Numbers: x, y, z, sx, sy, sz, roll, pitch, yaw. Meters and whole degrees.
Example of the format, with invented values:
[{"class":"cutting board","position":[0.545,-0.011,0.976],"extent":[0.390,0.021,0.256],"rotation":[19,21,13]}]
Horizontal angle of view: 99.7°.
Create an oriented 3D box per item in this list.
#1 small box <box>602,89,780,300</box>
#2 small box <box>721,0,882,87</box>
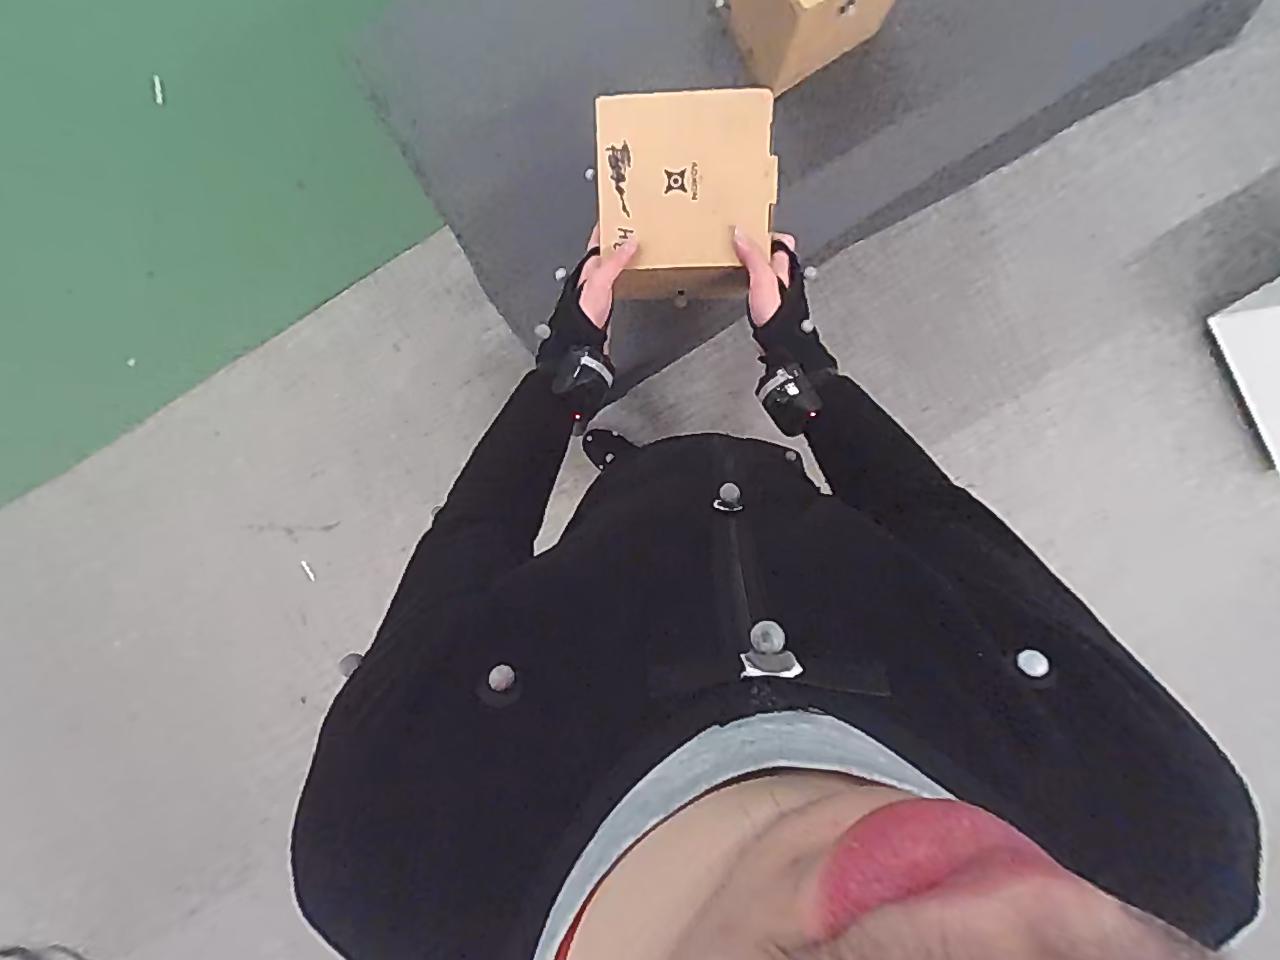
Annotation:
[{"class":"small box","position":[0.050,-0.306,0.611],"extent":[0.179,0.176,0.168],"rotation":[0,97,1]},{"class":"small box","position":[0.209,-0.646,0.670],"extent":[0.179,0.176,0.168],"rotation":[-31,96,2]}]
